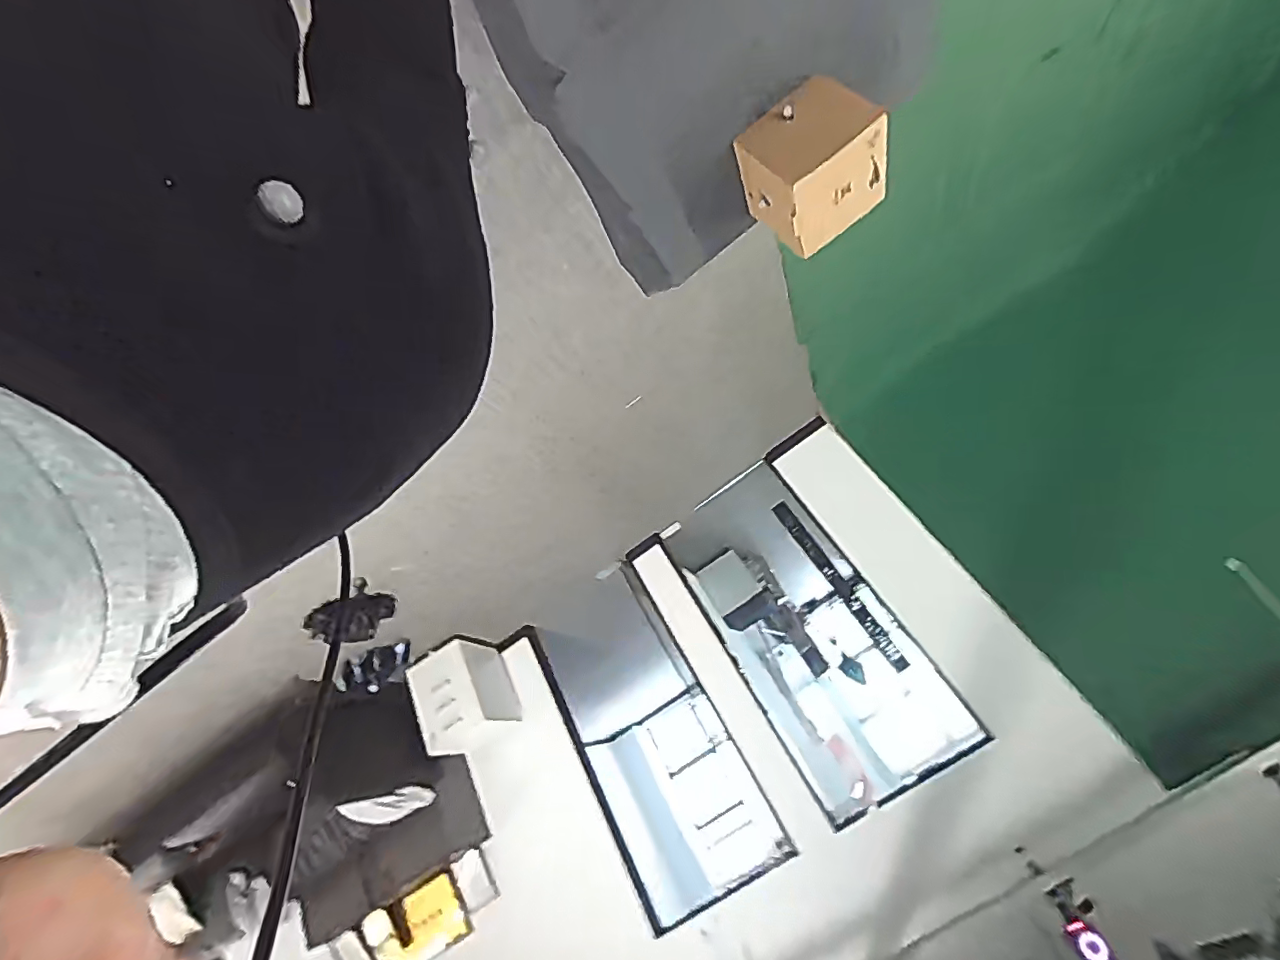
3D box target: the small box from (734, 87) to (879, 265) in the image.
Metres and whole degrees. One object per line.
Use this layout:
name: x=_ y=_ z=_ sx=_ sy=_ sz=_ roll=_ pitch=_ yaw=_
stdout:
small box: x=0.279 y=-0.519 z=0.929 sx=0.179 sy=0.176 sz=0.168 roll=-36 pitch=151 yaw=5
